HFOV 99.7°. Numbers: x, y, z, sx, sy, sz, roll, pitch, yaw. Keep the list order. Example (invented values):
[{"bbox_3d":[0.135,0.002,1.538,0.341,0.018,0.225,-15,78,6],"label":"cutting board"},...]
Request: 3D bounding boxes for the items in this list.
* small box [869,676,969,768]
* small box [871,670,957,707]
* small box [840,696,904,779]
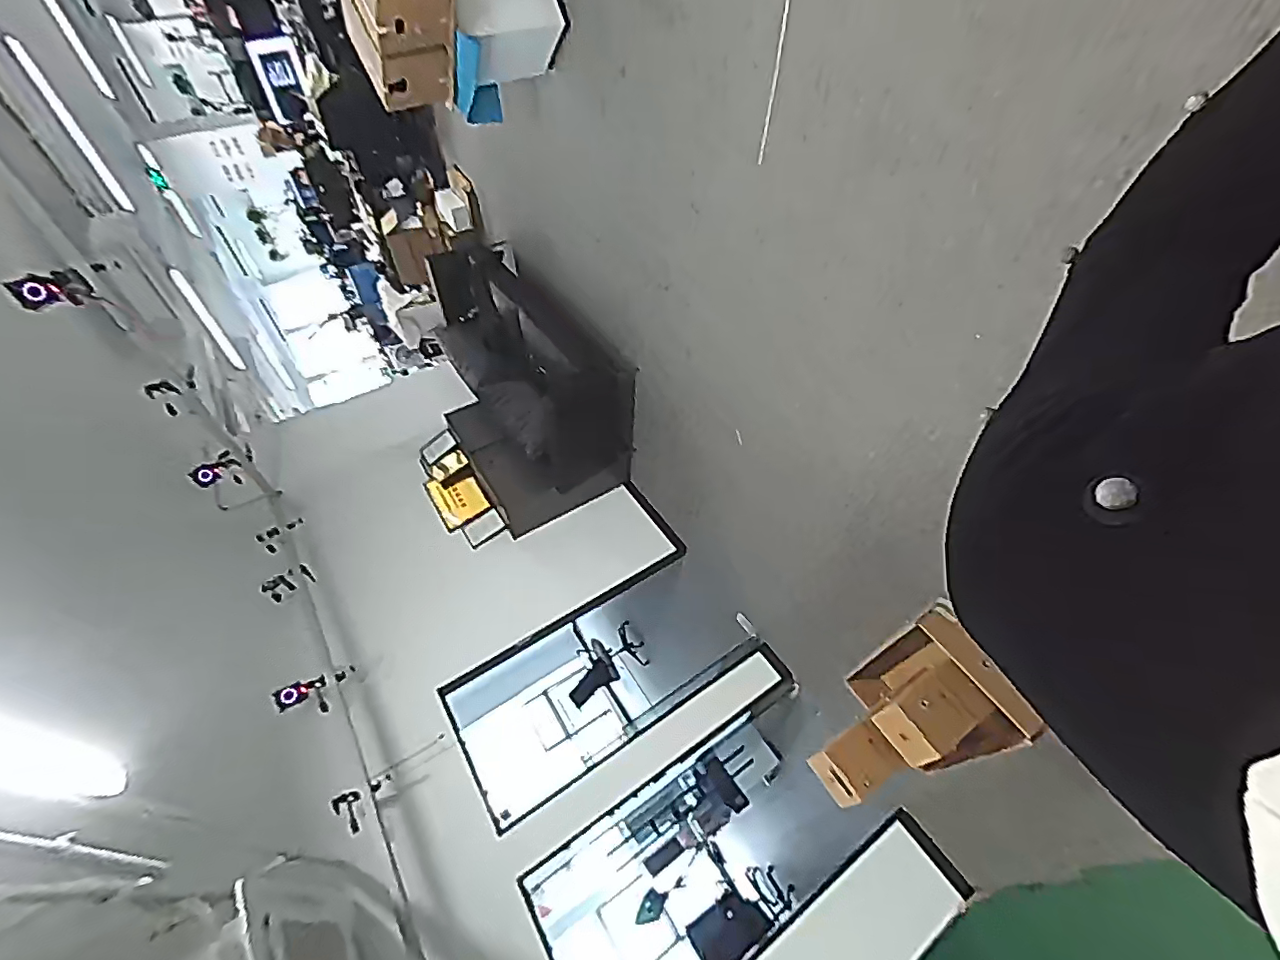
[{"bbox_3d":[0.816,0.703,1.579,0.168,0.176,0.179,52,156,28],"label":"small box"},{"bbox_3d":[0.936,0.782,1.847,0.168,0.176,0.179,51,154,28],"label":"small box"},{"bbox_3d":[0.802,0.846,1.782,0.168,0.176,0.179,52,153,29],"label":"small box"}]
